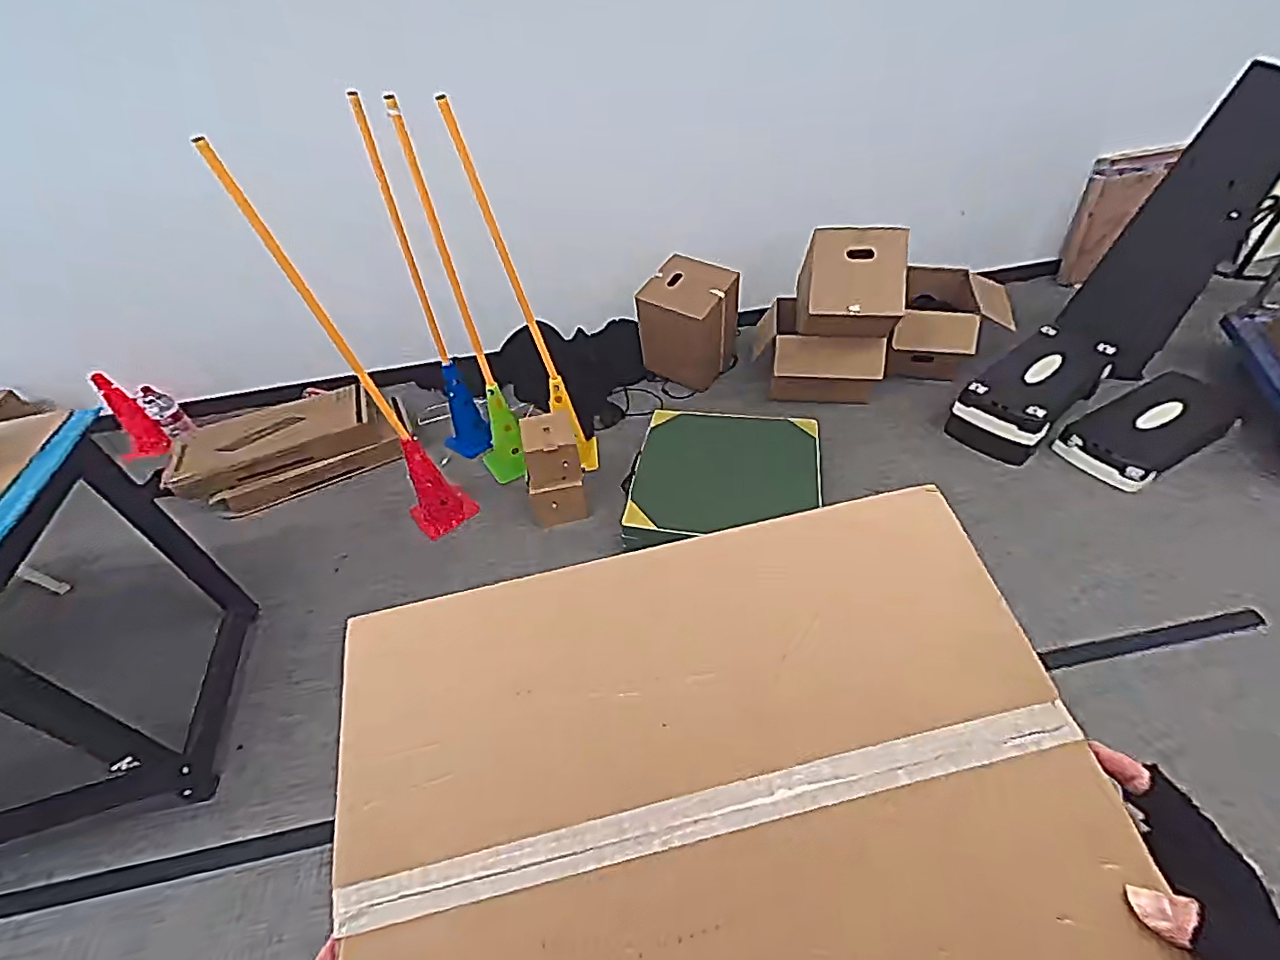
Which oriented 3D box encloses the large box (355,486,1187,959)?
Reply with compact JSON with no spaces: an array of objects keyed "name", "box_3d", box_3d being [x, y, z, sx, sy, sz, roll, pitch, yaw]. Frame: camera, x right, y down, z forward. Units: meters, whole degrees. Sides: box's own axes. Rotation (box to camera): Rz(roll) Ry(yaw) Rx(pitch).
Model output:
[{"name":"large box","box_3d":[0.050,0.251,0.430,0.408,0.320,0.320,-13,61,-3]}]
